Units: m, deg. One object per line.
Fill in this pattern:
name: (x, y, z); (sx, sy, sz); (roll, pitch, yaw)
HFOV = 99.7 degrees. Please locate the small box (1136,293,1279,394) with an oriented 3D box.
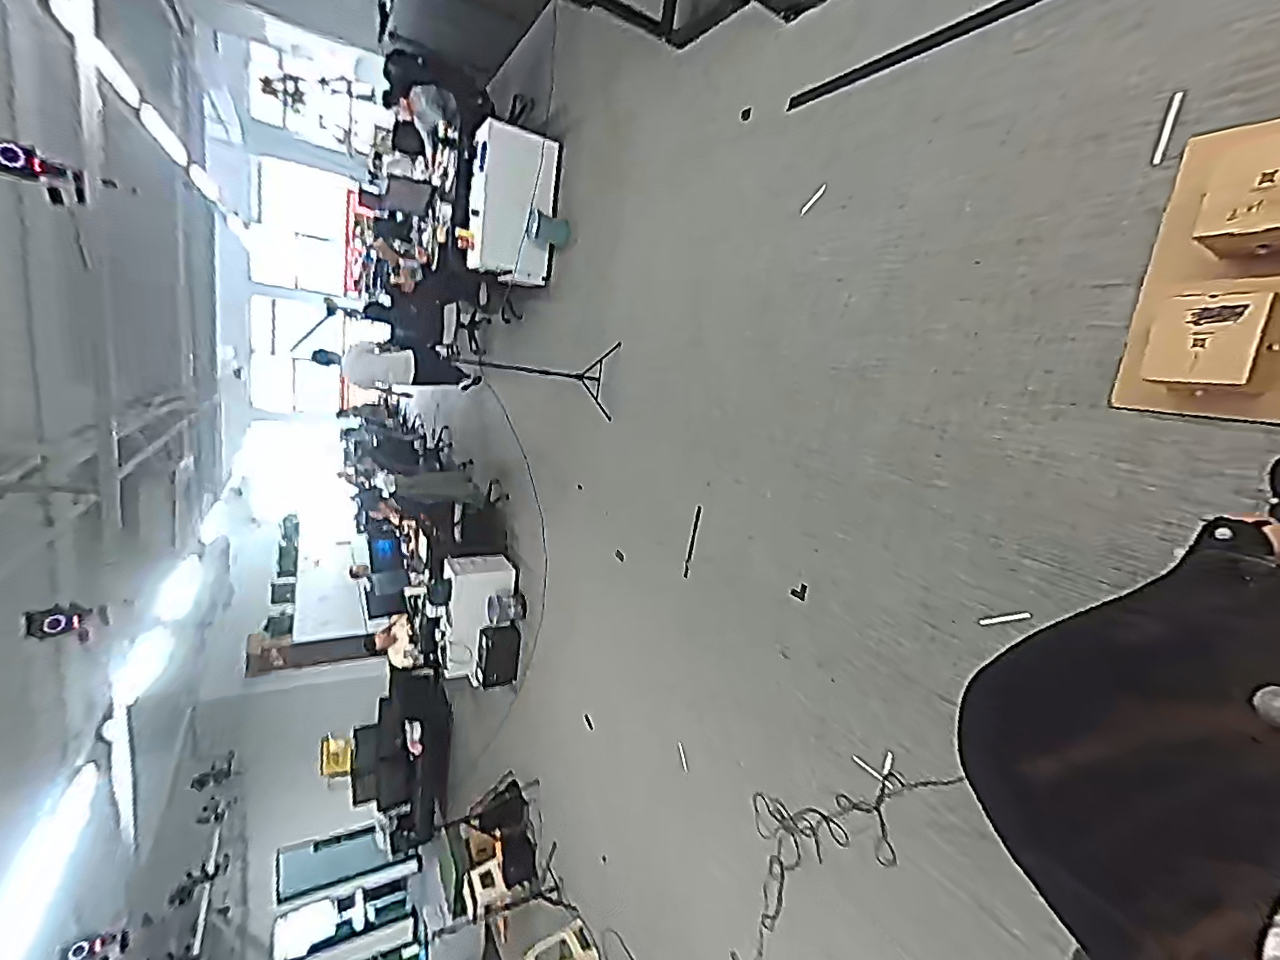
small box: (1.187, -0.279, 1.122); (0.168, 0.176, 0.179); (24, 110, 57)

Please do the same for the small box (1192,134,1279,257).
small box: (1.236, -0.551, 1.051); (0.168, 0.176, 0.179); (25, 110, 57)
